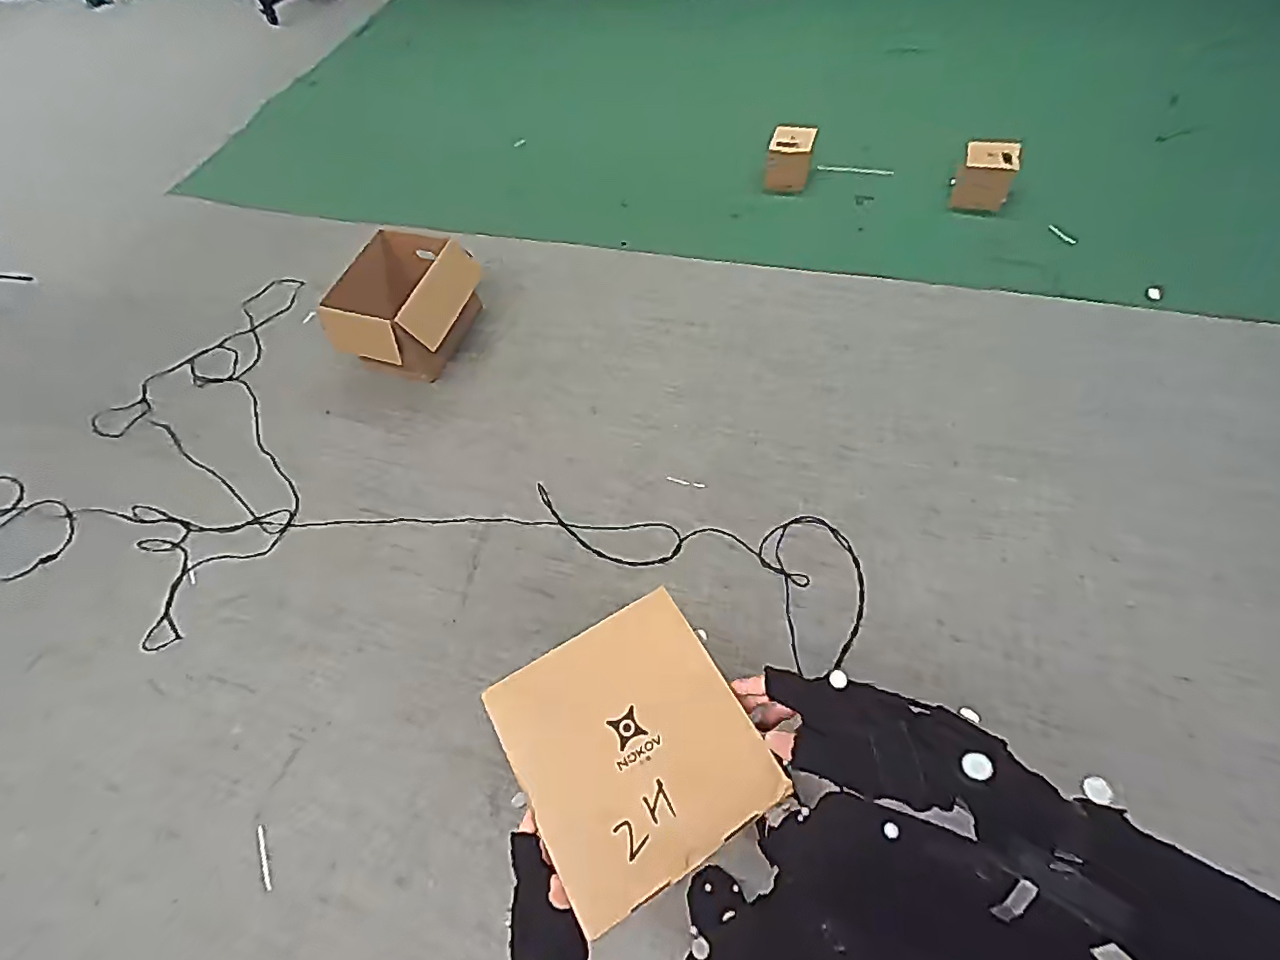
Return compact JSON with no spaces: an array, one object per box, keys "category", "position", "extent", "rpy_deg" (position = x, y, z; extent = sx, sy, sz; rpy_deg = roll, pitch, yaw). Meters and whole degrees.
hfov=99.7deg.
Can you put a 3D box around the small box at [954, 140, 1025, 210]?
[{"category":"small box","position":[1.320,-1.152,2.047],"extent":[0.179,0.176,0.168],"rpy_deg":[13,63,15]}]

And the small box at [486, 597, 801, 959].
[{"category":"small box","position":[-0.004,0.232,0.449],"extent":[0.168,0.176,0.179],"rpy_deg":[-28,65,-15]}]
